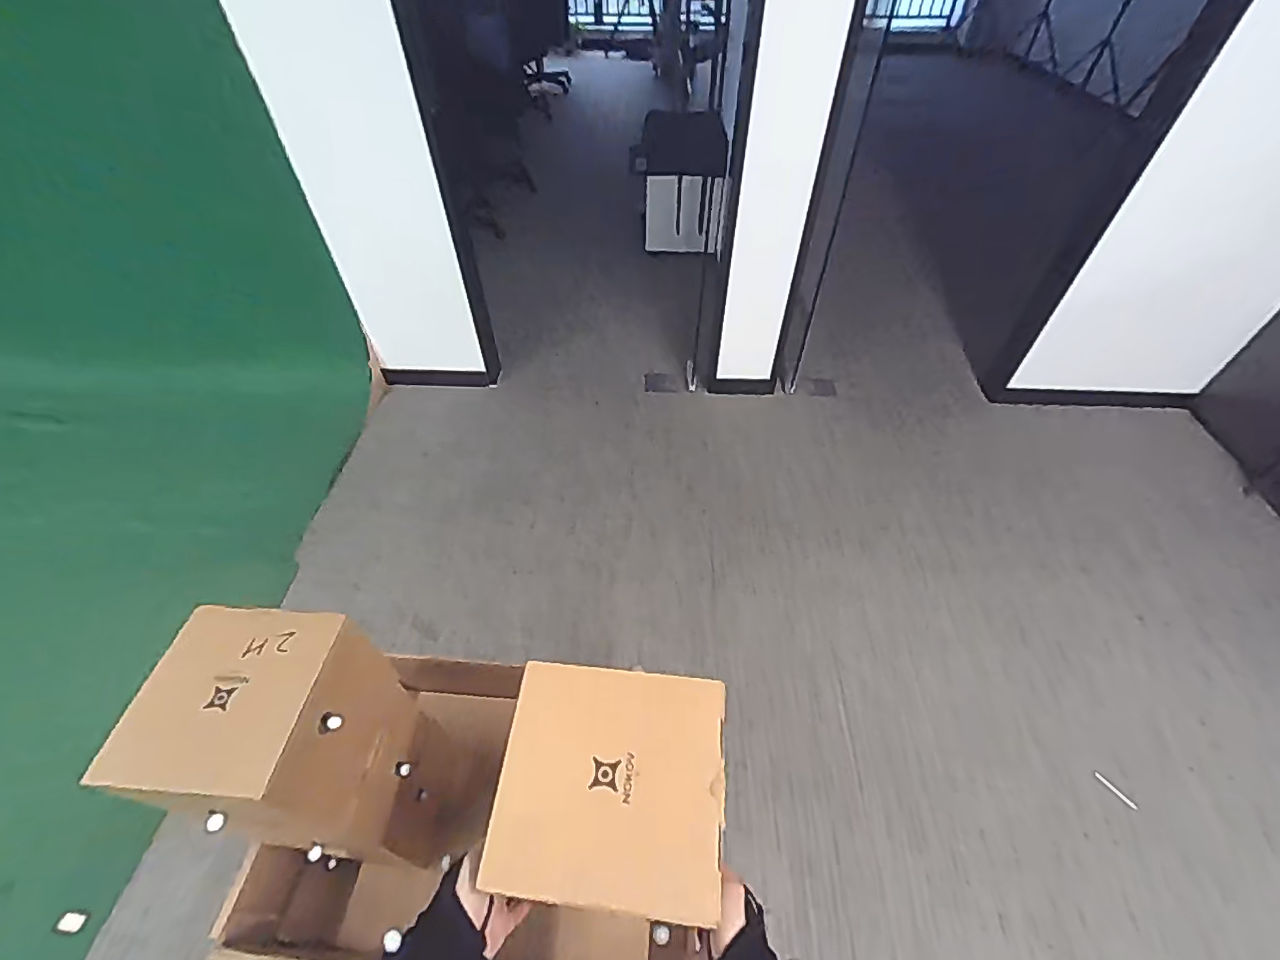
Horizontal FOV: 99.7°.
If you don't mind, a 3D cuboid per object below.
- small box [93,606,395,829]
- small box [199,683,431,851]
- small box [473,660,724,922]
[{"bbox_3d":[-0.393,0.259,0.584,0.168,0.176,0.179,3,48,3],"label":"small box"},{"bbox_3d":[-0.396,0.371,0.704,0.179,0.176,0.168,2,47,2],"label":"small box"},{"bbox_3d":[-0.022,0.278,0.485,0.179,0.176,0.168,5,53,5],"label":"small box"}]
